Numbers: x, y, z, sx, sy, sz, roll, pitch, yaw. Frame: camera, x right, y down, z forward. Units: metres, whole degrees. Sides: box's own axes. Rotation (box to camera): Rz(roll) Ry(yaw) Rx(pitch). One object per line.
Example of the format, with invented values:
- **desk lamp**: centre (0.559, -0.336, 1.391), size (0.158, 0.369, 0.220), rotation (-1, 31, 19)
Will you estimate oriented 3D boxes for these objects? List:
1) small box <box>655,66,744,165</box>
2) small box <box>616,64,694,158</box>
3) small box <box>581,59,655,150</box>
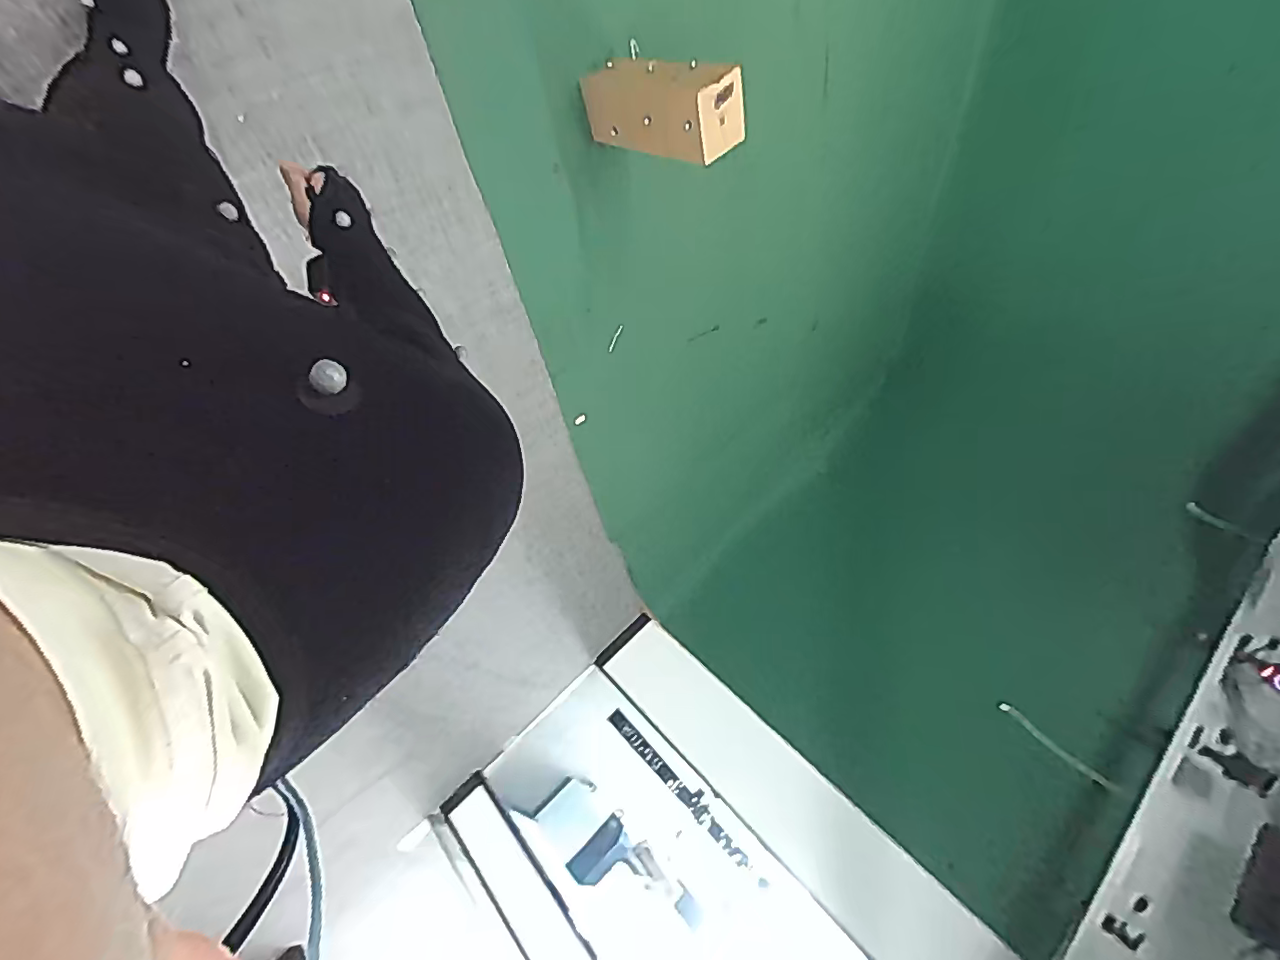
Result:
- **small box**: centre (0.161, -0.994, 1.469), size (0.168, 0.176, 0.179), rotation (-41, 145, -16)
- **small box**: centre (0.055, -1.072, 1.565), size (0.168, 0.176, 0.179), rotation (-40, 143, -18)
- **small box**: centre (-0.054, -1.153, 1.655), size (0.168, 0.176, 0.179), rotation (-42, 145, -17)
